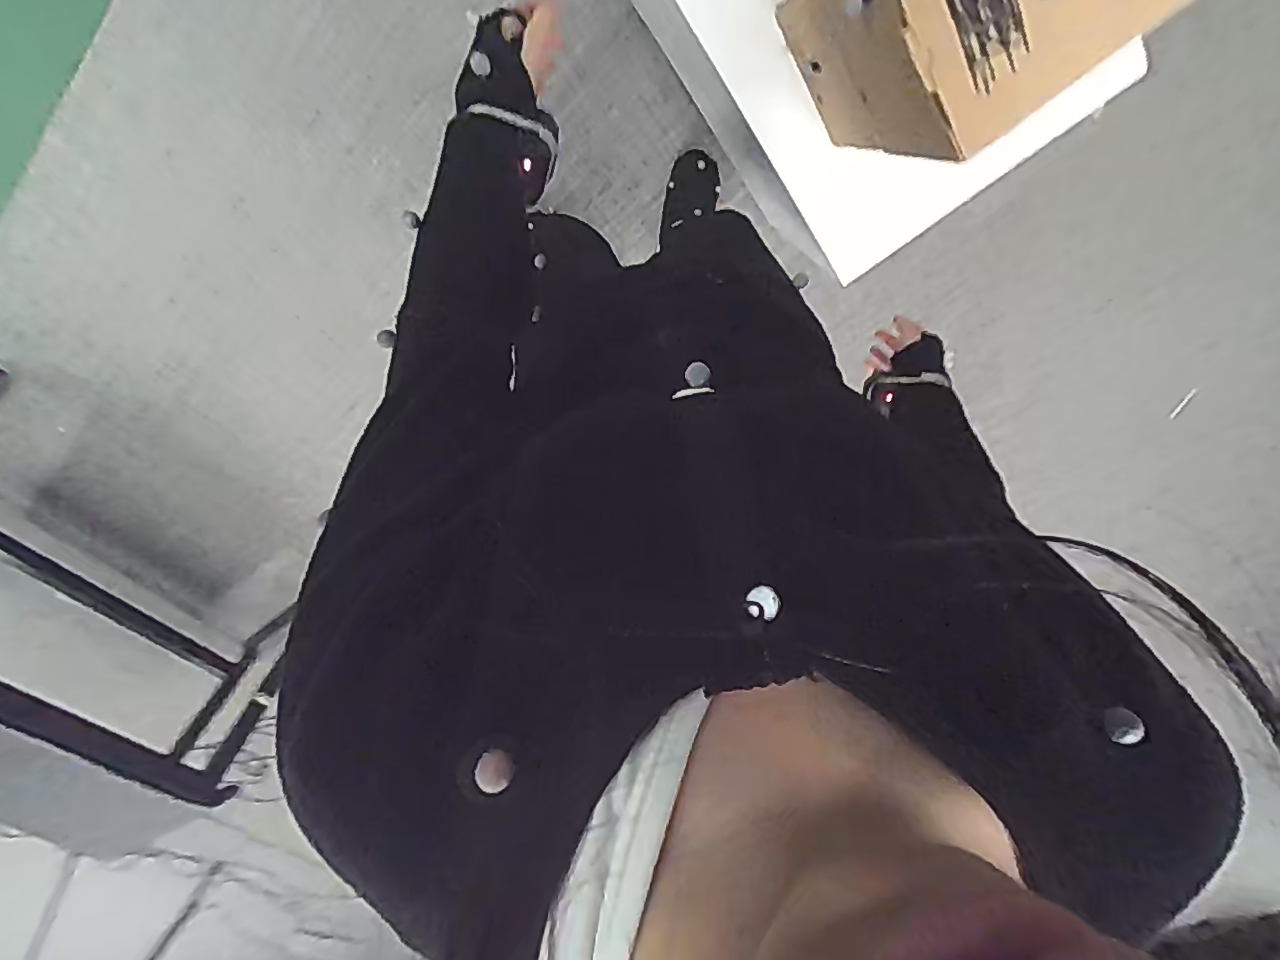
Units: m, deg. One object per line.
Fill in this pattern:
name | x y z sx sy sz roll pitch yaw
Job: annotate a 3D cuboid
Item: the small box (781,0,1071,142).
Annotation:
small box | 0.268 -0.476 0.541 0.179 0.176 0.168 -32 117 19
